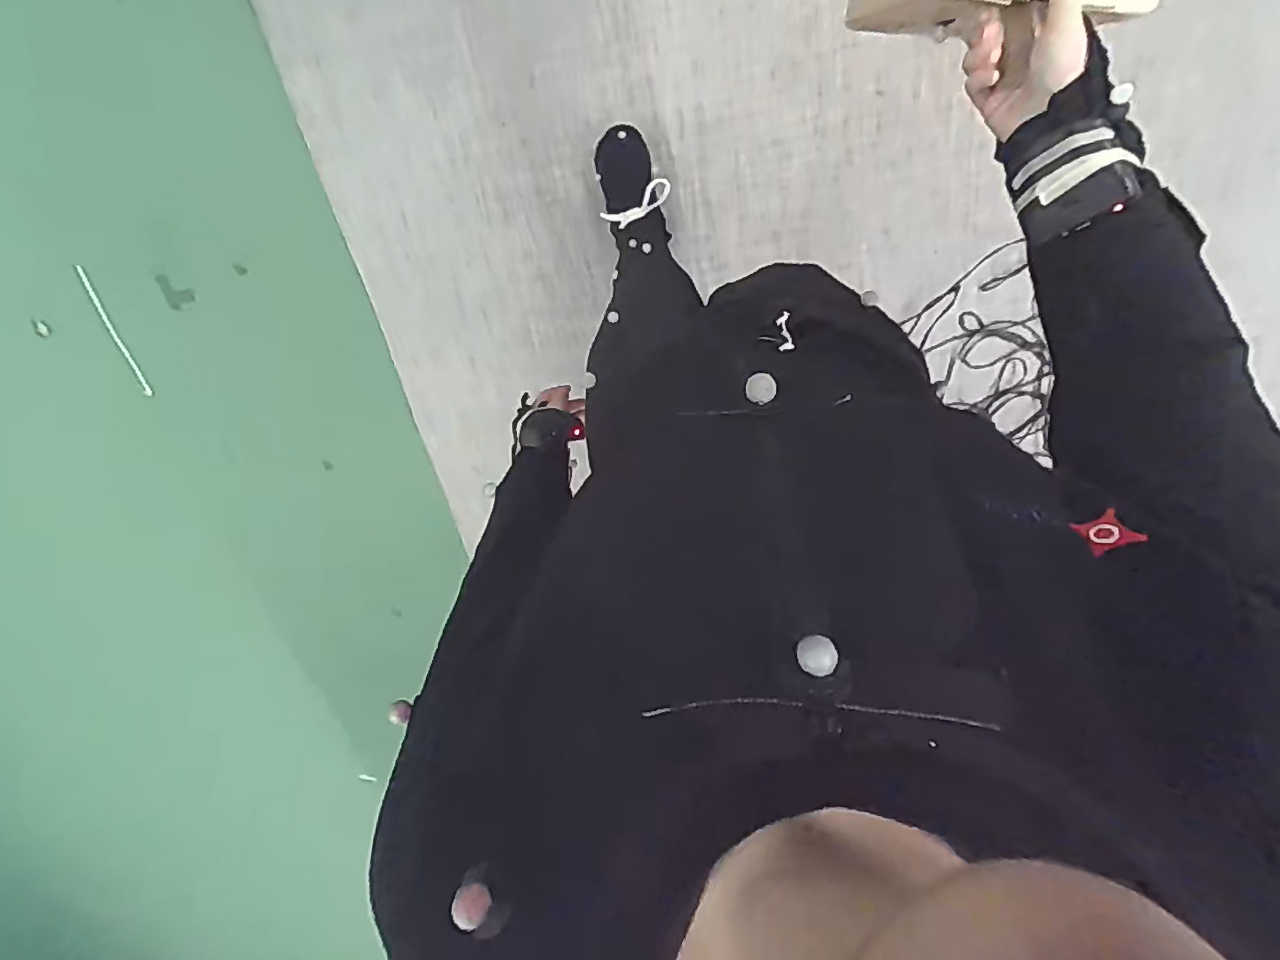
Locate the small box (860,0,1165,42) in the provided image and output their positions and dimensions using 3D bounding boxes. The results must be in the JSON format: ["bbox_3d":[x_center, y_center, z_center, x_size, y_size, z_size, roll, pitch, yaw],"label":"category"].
[{"bbox_3d":[0.284,-0.444,0.390,0.168,0.176,0.179,2,124,-5],"label":"small box"}]
